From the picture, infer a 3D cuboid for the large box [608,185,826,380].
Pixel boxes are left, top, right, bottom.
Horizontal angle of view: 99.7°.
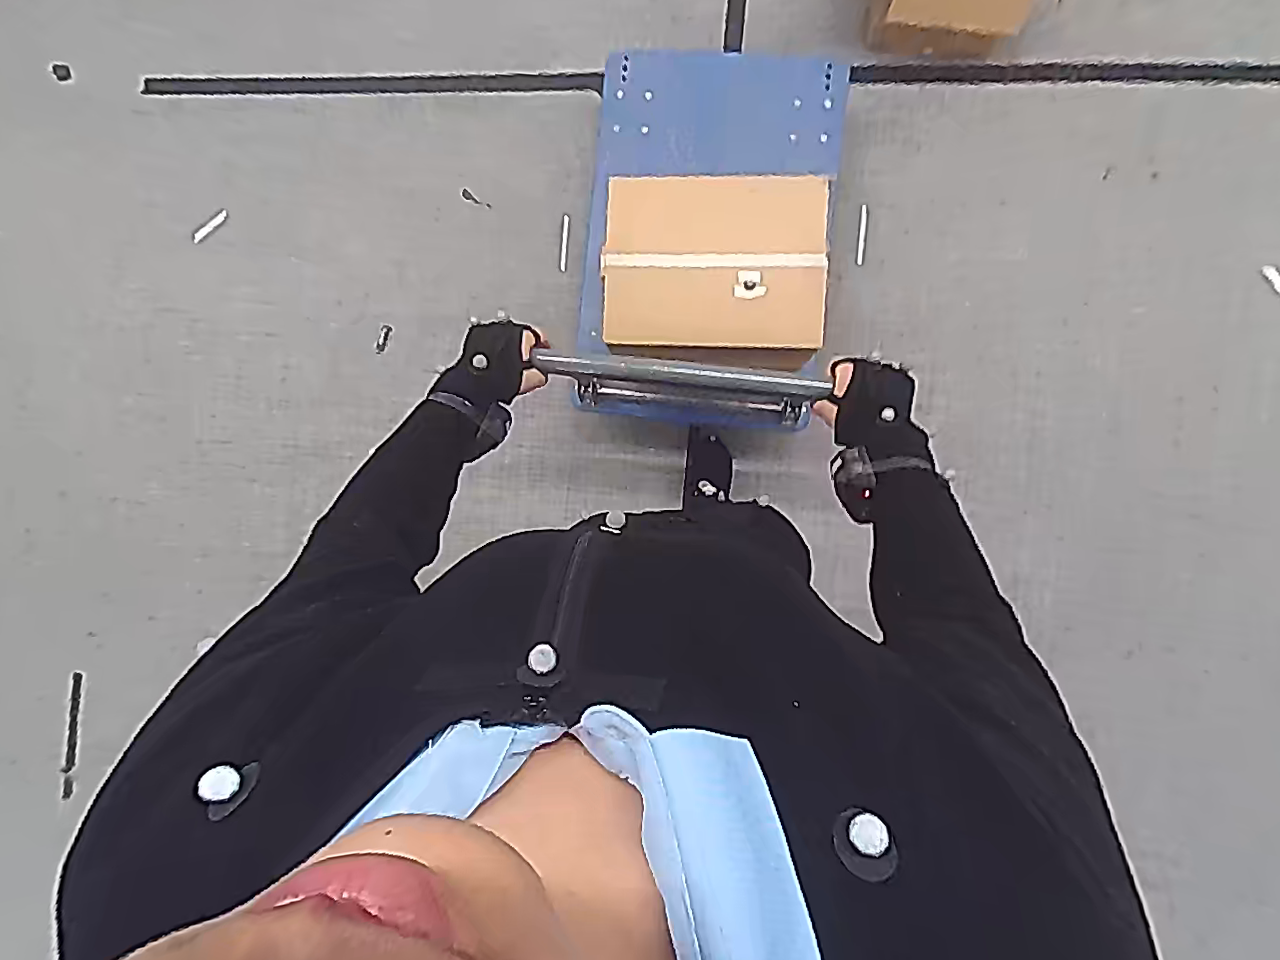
[{"bbox_3d":[0.149,-0.394,1.153,0.408,0.320,0.320,2,91,4],"label":"large box"}]
